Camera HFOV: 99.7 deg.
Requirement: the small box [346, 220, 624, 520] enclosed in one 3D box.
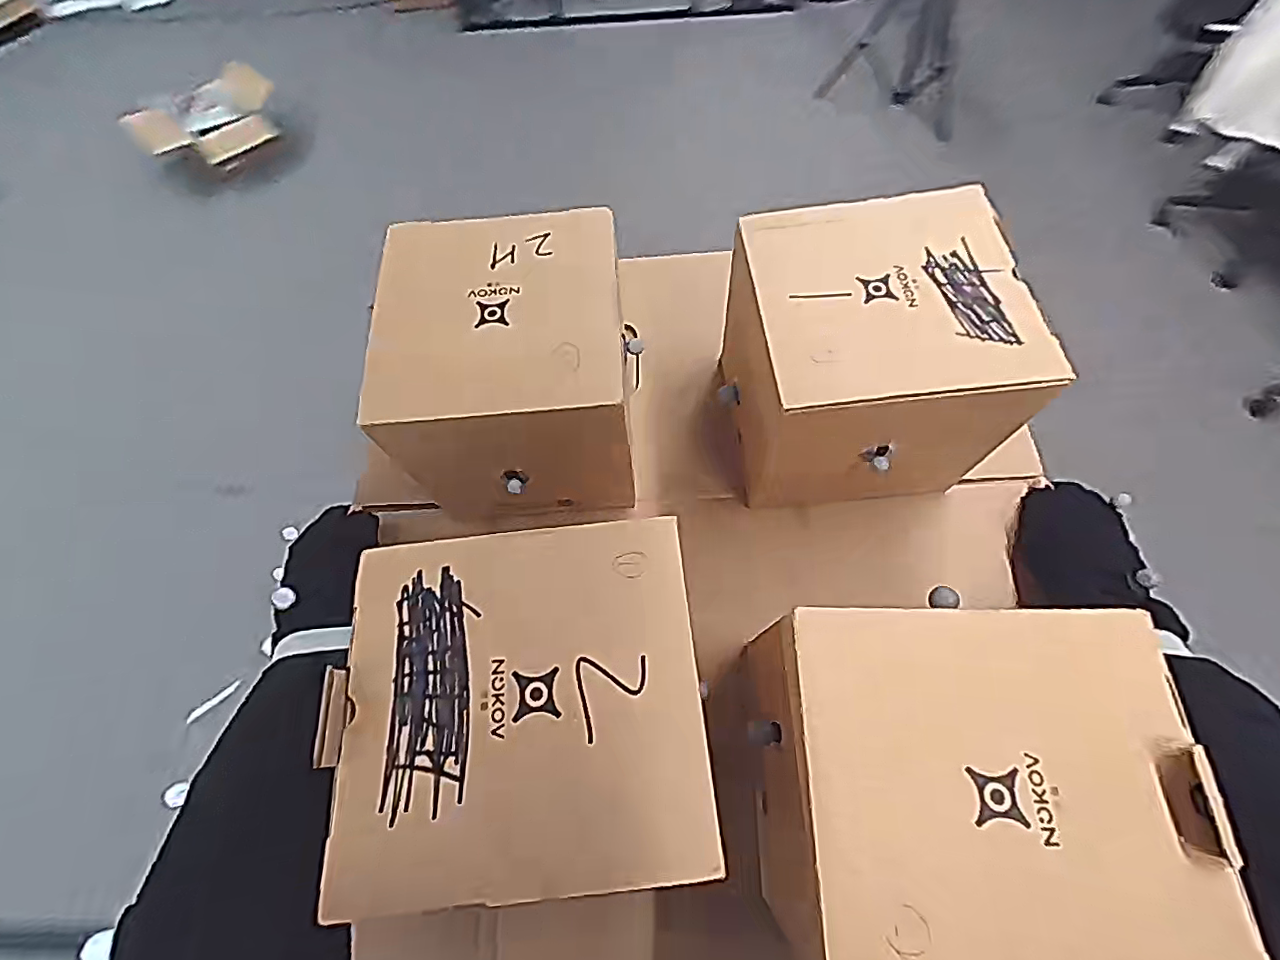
[{"bbox_3d":[-0.104,-0.074,0.439,0.168,0.176,0.179,-5,65,0],"label":"small box"}]
